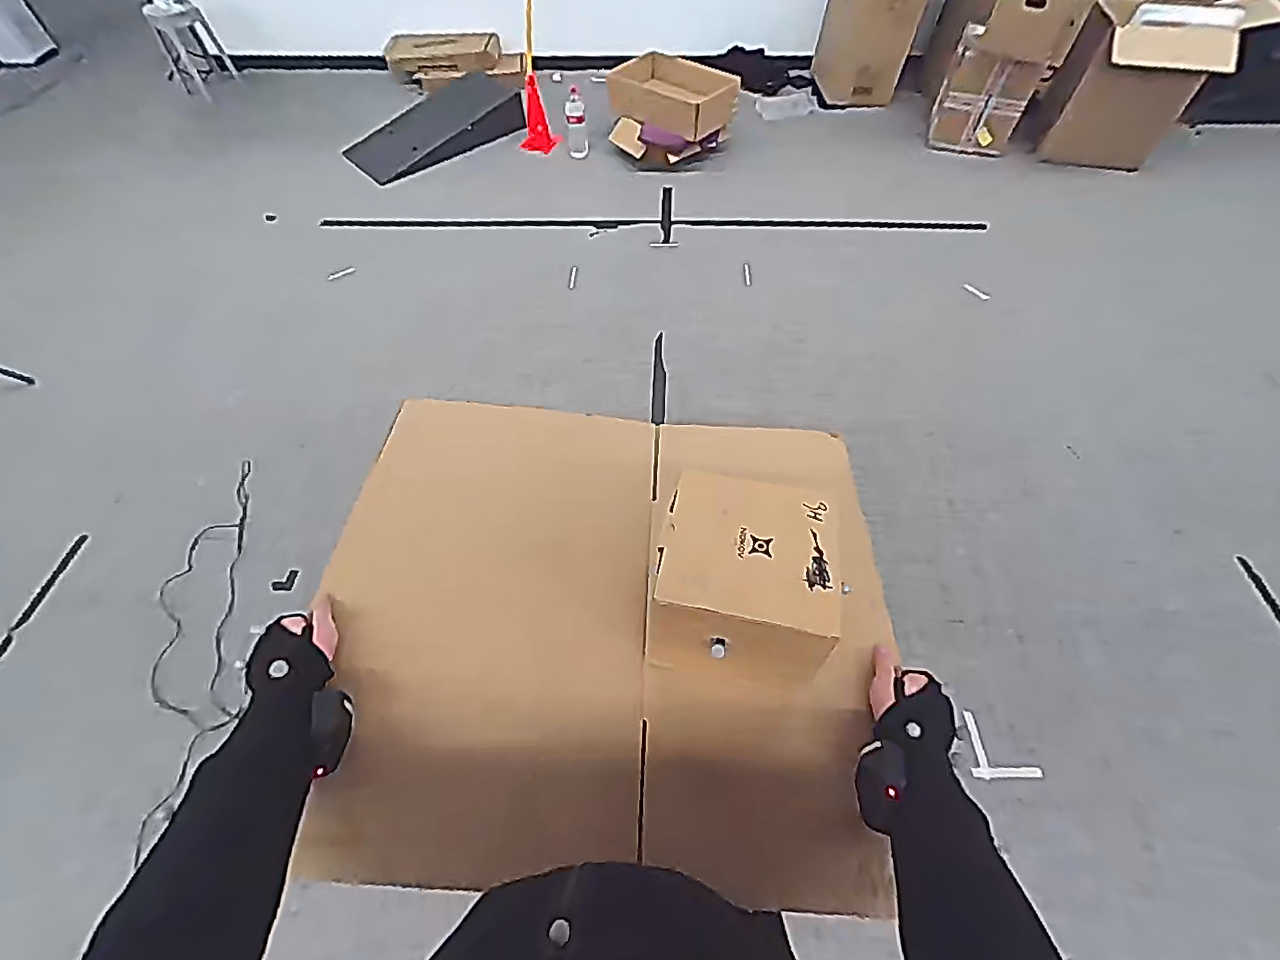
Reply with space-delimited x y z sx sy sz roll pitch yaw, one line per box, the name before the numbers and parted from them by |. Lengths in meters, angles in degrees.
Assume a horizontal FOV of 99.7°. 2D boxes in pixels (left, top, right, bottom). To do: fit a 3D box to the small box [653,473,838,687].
small box | 0.115 0.117 0.614 0.179 0.176 0.168 9 52 9
